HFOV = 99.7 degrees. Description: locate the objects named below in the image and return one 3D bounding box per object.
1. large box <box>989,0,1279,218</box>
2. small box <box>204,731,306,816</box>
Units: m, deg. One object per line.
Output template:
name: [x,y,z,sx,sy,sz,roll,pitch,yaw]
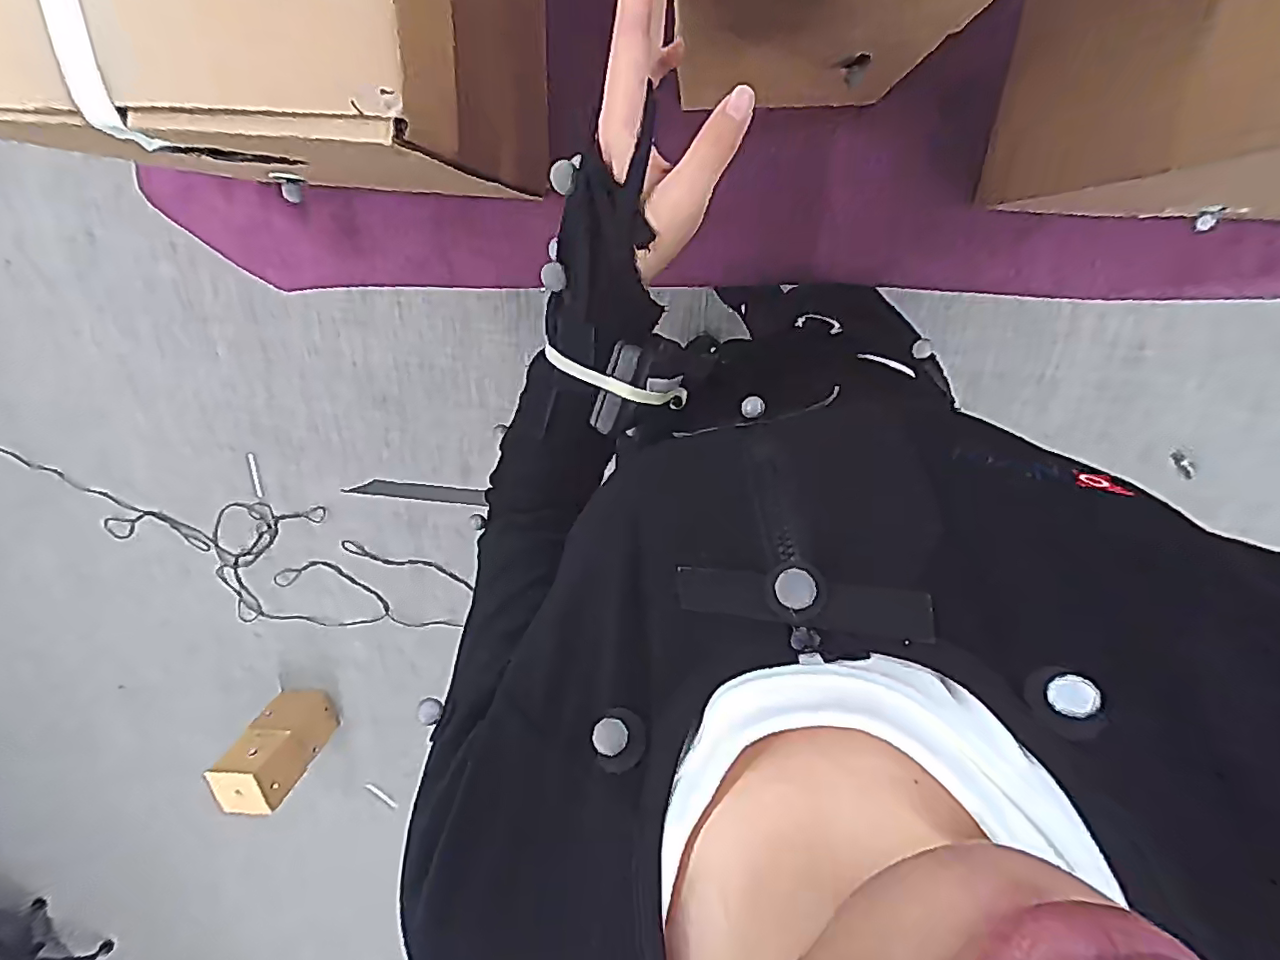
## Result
large box: [0.453,-0.367,0.276,0.320,0.320,0.408,4,111,5]
small box: [-1.200,0.916,1.698,0.168,0.176,0.179,-2,113,8]
